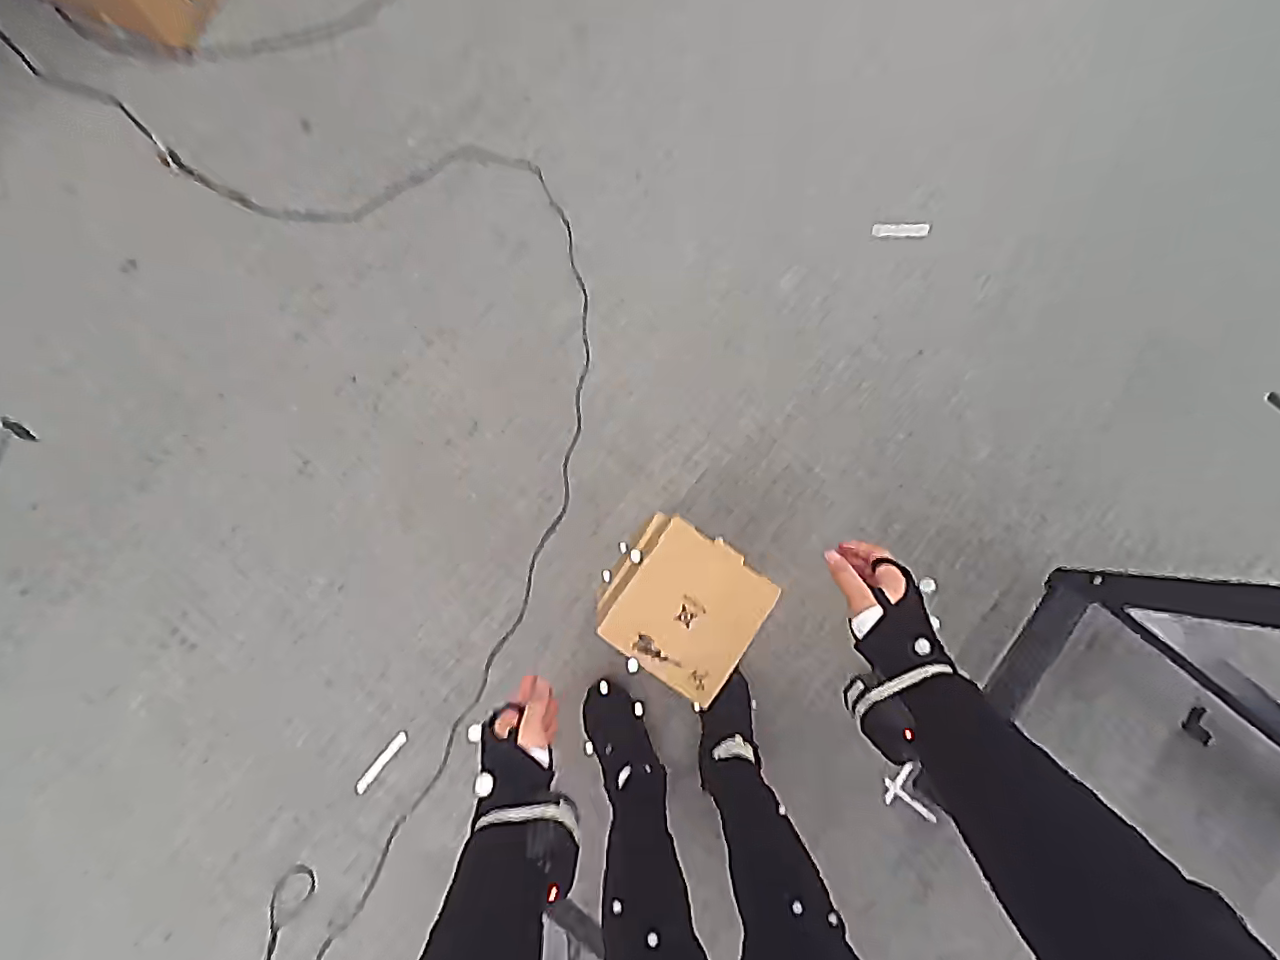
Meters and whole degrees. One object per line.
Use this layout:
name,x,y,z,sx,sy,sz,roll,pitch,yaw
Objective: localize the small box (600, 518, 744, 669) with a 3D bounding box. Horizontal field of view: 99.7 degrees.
small box,0.047,0.183,0.909,0.168,0.176,0.179,32,81,0
